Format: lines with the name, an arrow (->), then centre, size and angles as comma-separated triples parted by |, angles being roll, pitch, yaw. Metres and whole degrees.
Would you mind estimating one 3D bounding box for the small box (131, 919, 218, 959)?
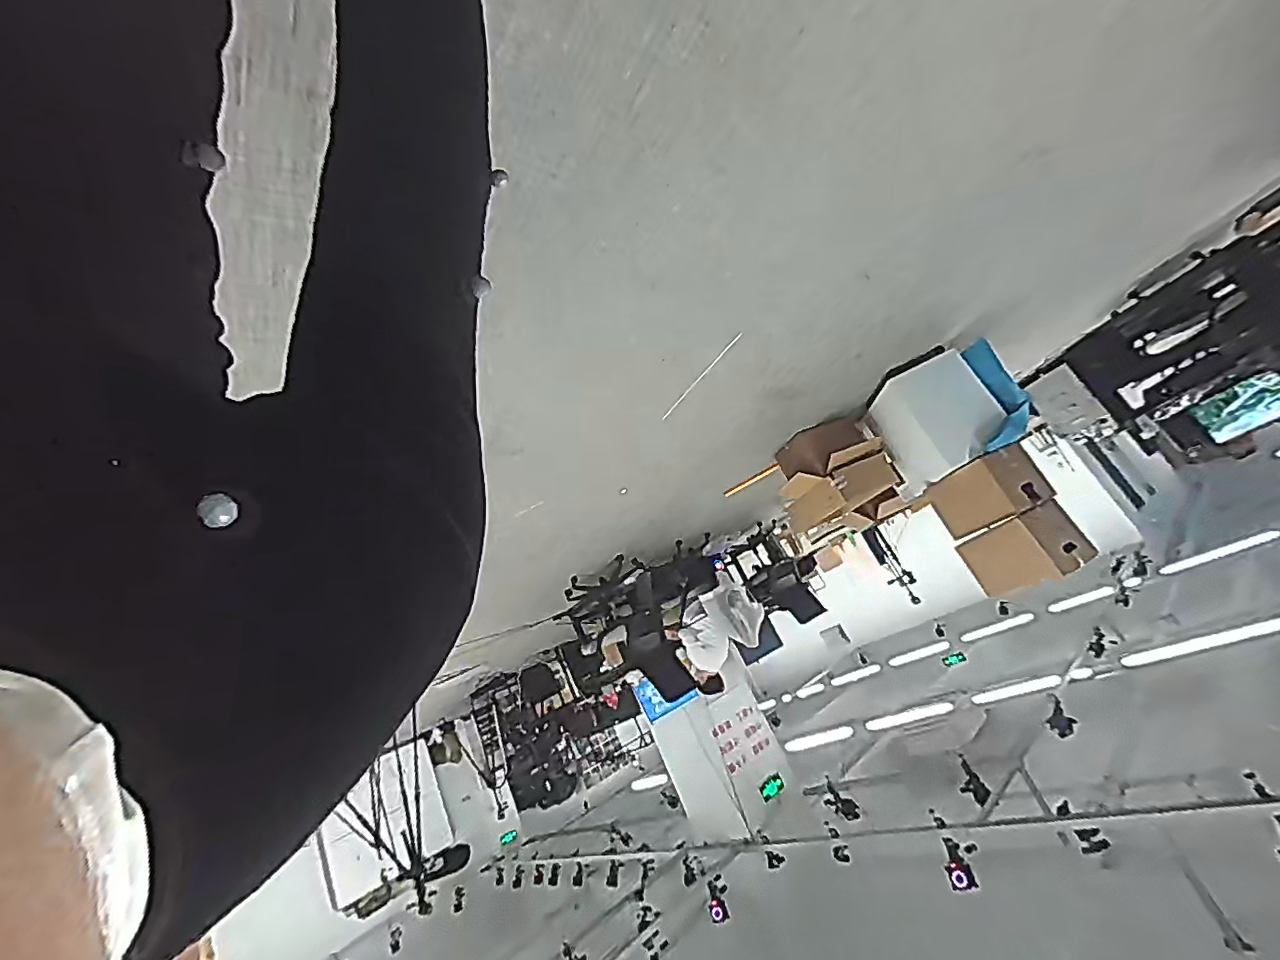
small box -> -1.115, 1.188, 1.274 | 0.179, 0.176, 0.168 | -14, 160, -35
